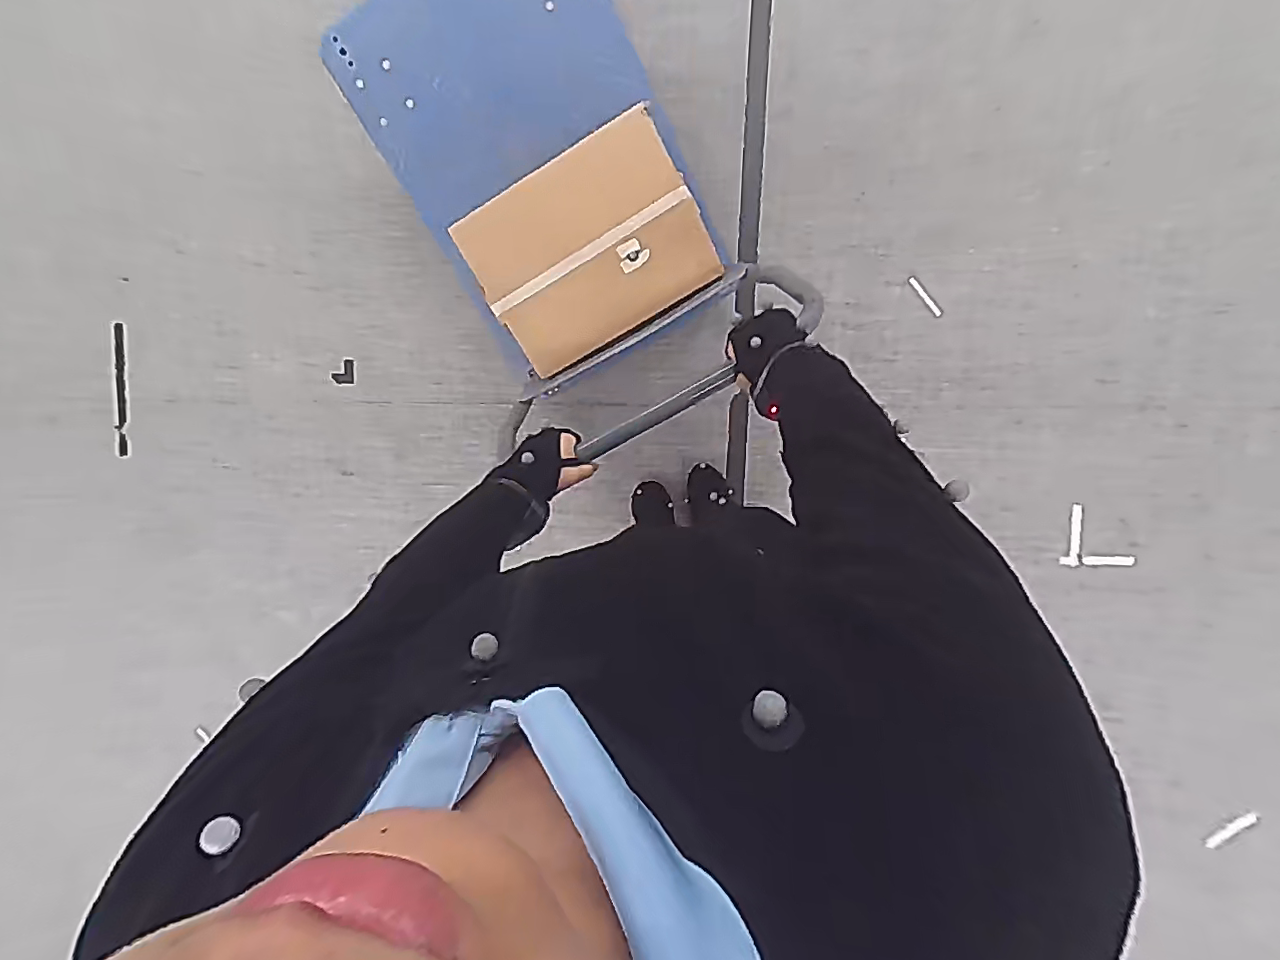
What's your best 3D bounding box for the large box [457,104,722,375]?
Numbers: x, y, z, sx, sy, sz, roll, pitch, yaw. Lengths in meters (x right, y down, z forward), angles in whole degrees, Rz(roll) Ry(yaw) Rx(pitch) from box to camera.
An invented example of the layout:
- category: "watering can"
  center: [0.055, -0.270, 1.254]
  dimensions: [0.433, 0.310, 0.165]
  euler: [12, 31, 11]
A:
- category: "large box"
  center: [-0.096, -0.470, 1.135]
  dimensions: [0.408, 0.320, 0.320]
  euler: [-30, 108, 7]
